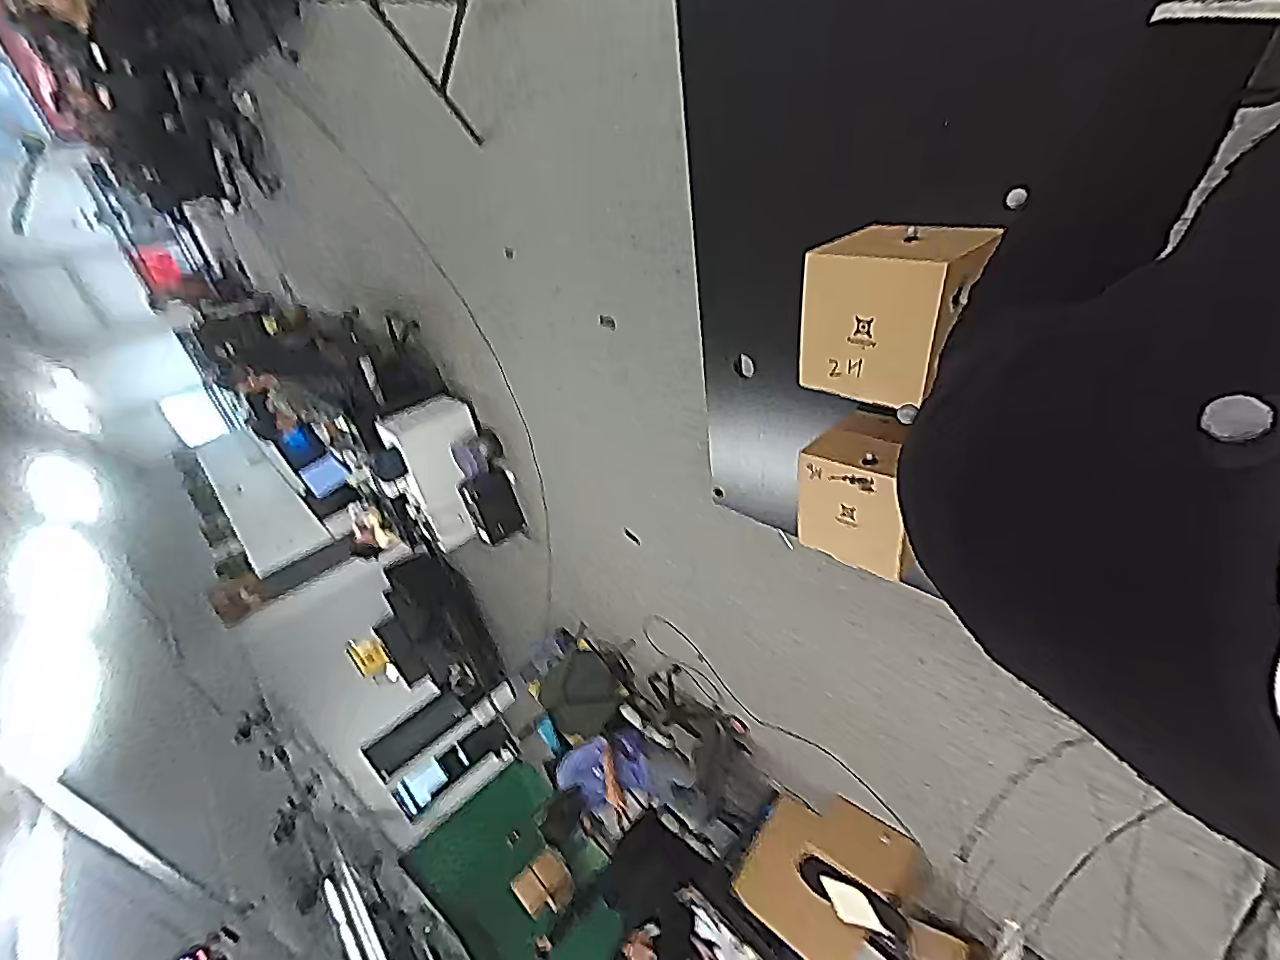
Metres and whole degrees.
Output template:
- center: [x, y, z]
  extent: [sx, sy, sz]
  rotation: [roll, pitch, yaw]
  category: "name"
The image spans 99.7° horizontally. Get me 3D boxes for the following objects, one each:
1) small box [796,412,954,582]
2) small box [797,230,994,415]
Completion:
- center: [0.360, 0.017, 0.836]
  extent: [0.168, 0.176, 0.179]
  rotation: [22, 134, 43]
  category: "small box"
- center: [0.322, -0.211, 0.691]
  extent: [0.168, 0.176, 0.179]
  rotation: [26, 136, 41]
  category: "small box"
